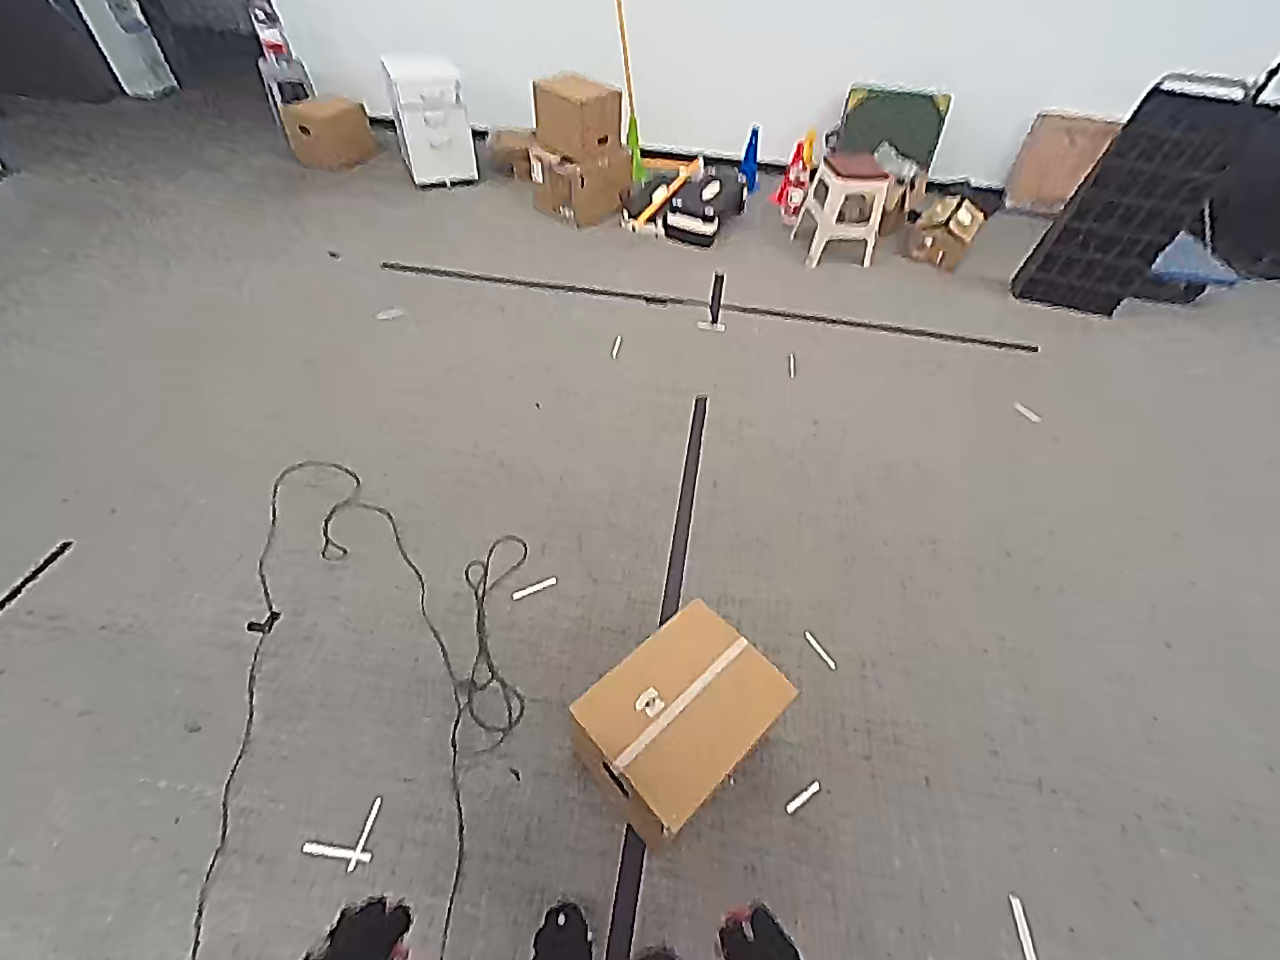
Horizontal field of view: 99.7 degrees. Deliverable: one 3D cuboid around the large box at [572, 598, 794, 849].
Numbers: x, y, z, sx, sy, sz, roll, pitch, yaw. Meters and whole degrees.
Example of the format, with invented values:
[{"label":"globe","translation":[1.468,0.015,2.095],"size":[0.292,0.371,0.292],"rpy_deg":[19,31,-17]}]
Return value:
[{"label":"large box","translation":[0.092,0.570,1.284],"size":[0.408,0.320,0.320],"rpy_deg":[-34,59,-28]}]
